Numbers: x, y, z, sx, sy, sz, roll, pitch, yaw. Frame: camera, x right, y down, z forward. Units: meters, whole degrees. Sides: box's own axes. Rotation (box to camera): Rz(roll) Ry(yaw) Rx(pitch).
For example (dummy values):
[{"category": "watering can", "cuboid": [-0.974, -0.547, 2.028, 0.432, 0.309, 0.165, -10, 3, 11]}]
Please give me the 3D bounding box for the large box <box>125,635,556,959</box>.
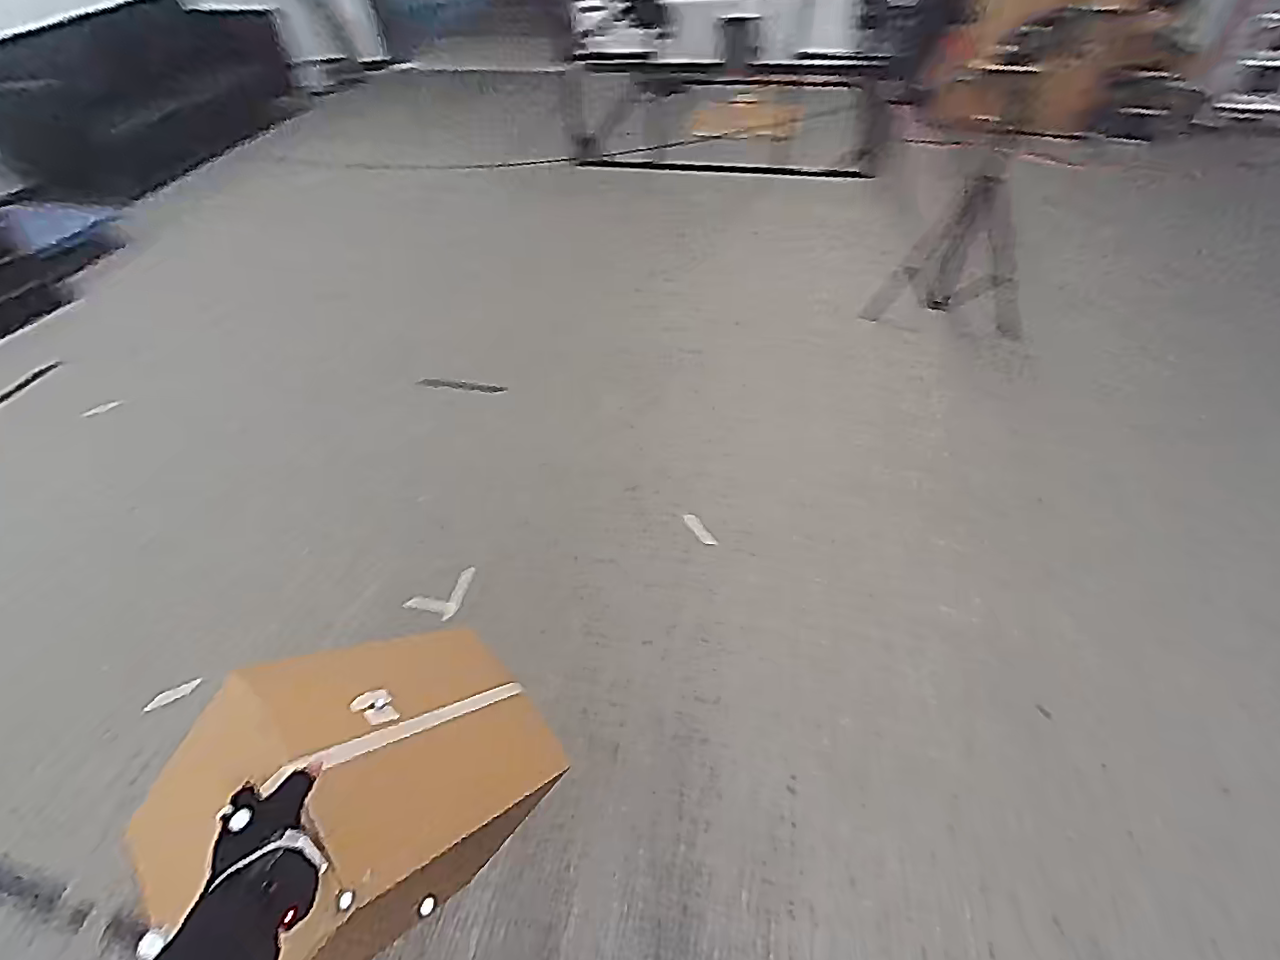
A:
[{"category": "large box", "cuboid": [-0.409, 0.479, 0.799, 0.320, 0.408, 0.320, 42, 103, 24]}]
